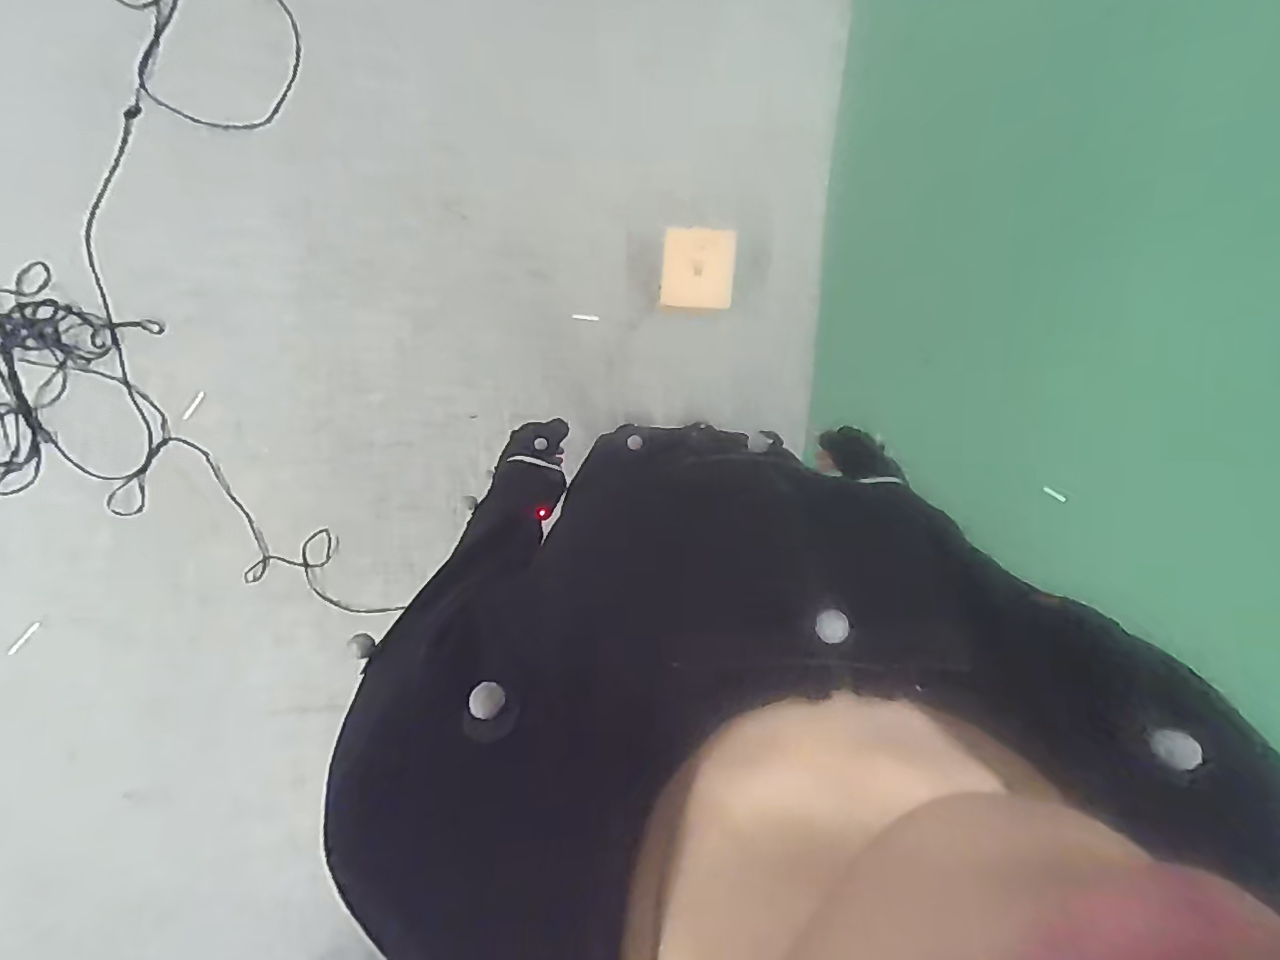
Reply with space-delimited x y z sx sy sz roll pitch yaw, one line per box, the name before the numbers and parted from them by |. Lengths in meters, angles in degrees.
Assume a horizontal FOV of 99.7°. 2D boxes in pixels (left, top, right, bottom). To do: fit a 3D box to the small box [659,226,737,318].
small box | 0.135 -0.498 1.316 0.168 0.176 0.179 4 98 -1
